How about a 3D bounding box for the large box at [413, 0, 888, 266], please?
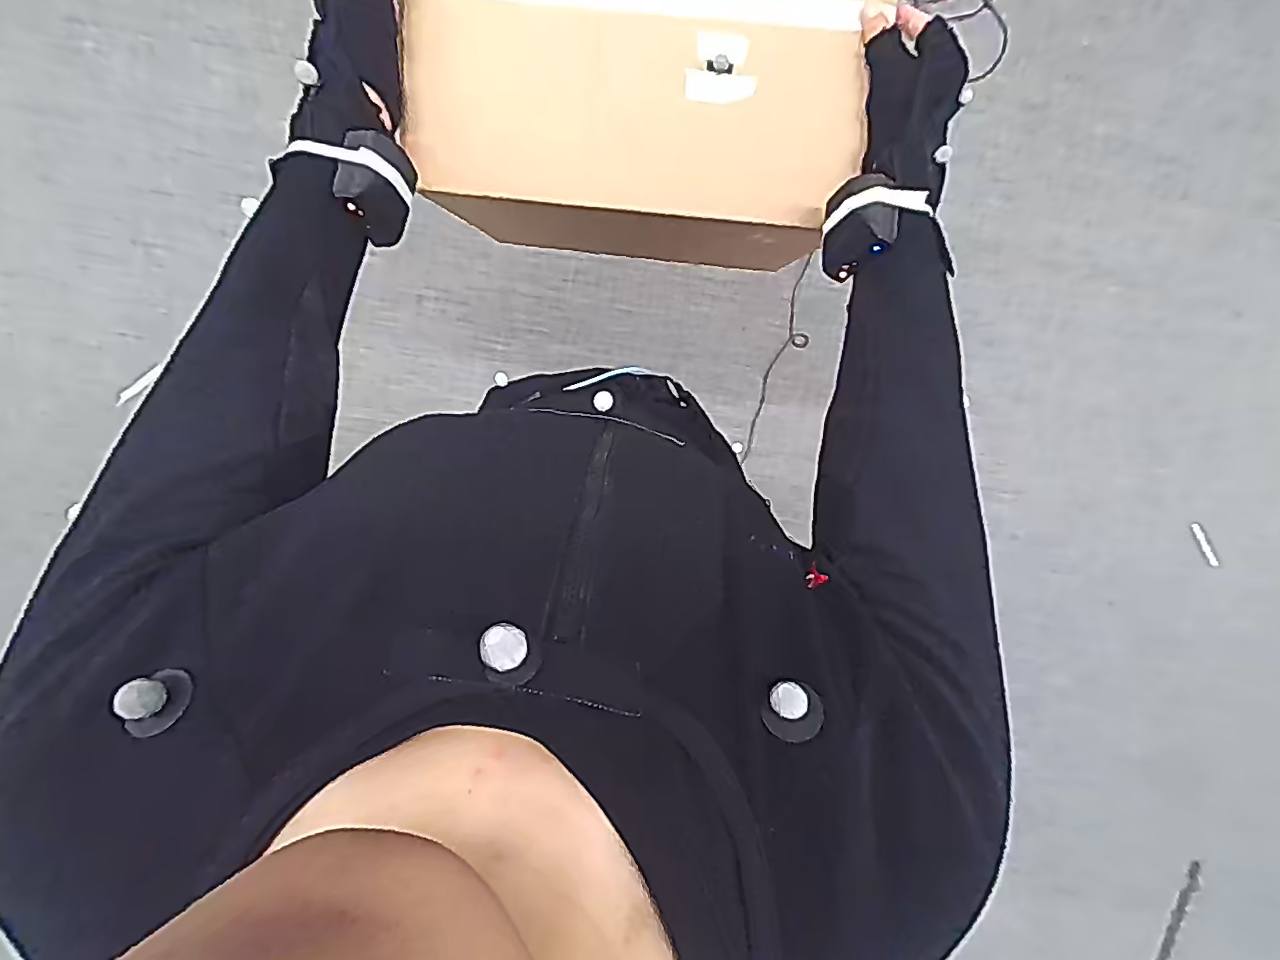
[{"bbox_3d":[0.007,-0.433,0.597,0.408,0.320,0.320,5,106,-1],"label":"large box"}]
